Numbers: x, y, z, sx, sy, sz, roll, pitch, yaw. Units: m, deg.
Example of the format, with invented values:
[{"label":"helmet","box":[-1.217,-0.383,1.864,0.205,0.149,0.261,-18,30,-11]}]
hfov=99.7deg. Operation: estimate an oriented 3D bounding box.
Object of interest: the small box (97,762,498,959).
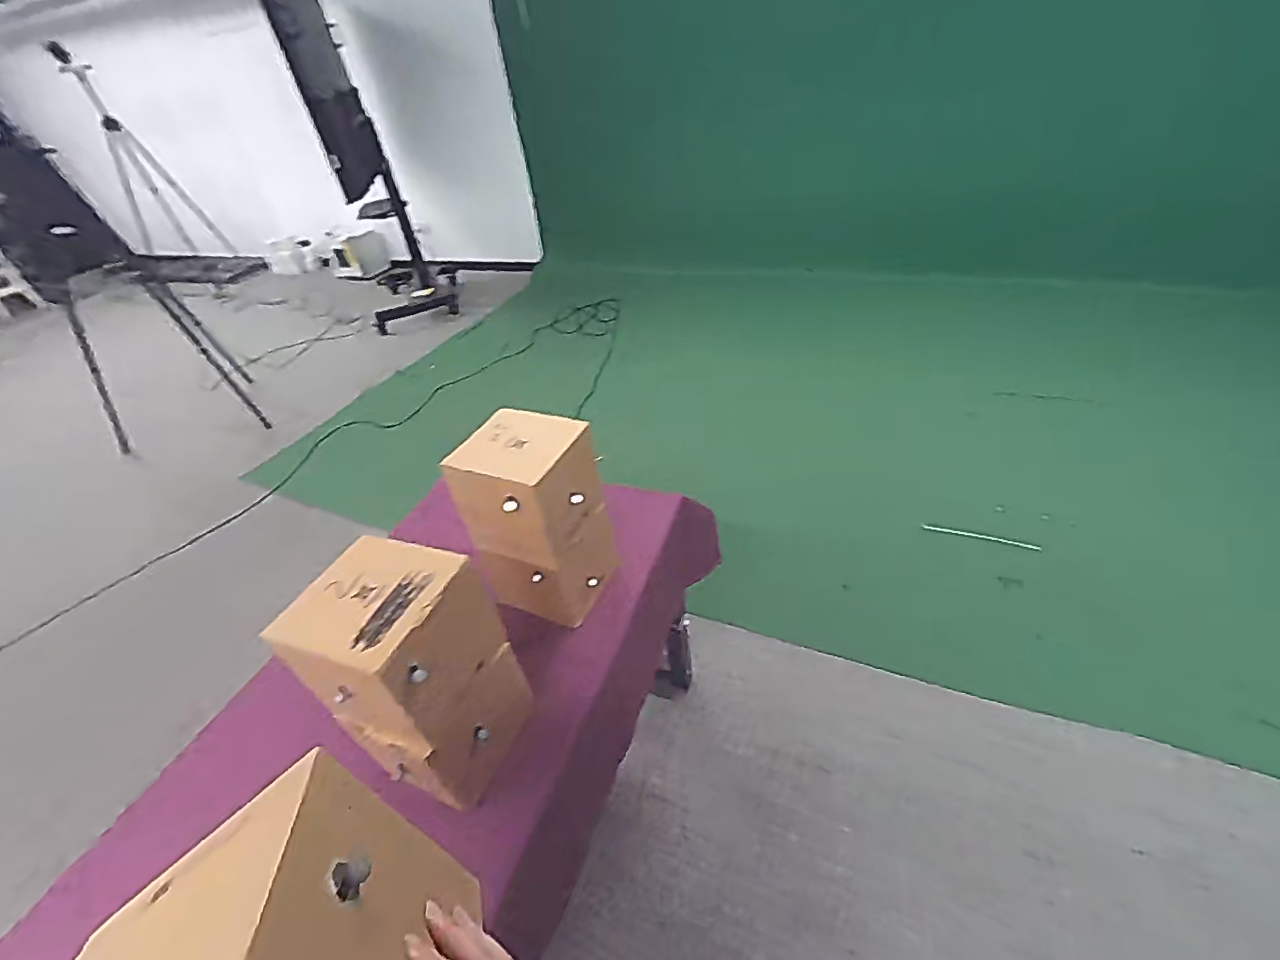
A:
[{"label":"small box","box":[-0.200,0.304,0.315,0.168,0.179,0.176,-38,17,-12]}]

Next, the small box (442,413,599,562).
[{"label":"small box","box":[-0.186,0.013,0.897,0.179,0.176,0.168,11,42,23]}]

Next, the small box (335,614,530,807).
[{"label":"small box","box":[-0.283,0.332,0.781,0.168,0.176,0.179,11,43,23]}]

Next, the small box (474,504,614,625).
[{"label":"small box","box":[-0.168,0.141,1.000,0.179,0.176,0.168,12,43,23]}]
